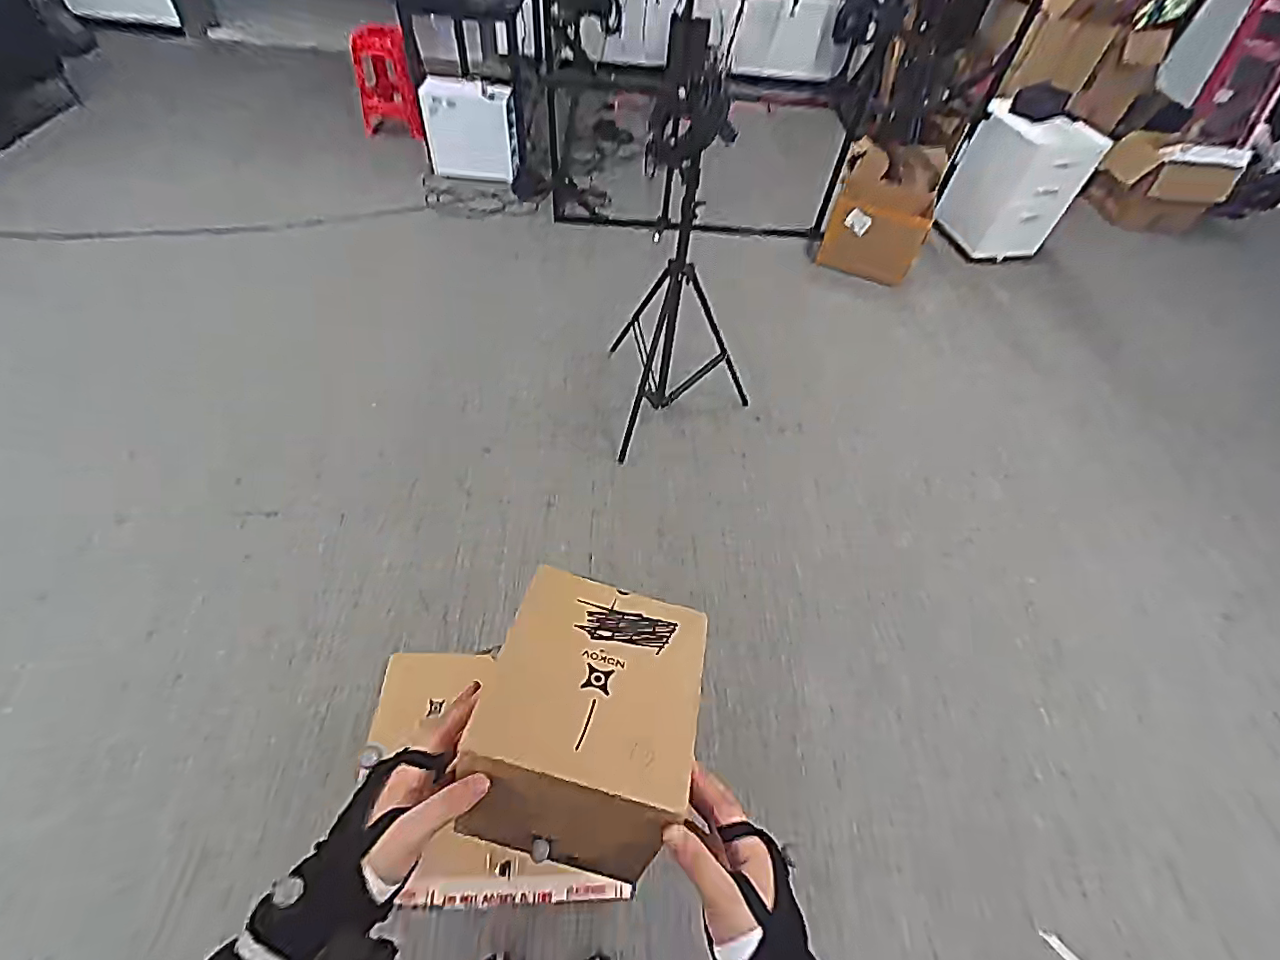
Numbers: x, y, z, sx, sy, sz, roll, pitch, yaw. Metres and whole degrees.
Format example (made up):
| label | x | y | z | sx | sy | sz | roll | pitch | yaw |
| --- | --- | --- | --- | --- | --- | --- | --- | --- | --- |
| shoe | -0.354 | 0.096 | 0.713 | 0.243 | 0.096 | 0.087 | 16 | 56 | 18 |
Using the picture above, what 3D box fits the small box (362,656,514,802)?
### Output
| label | x | y | z | sx | sy | sz | roll | pitch | yaw |
| --- | --- | --- | --- | --- | --- | --- | --- | --- | --- |
| small box | -0.294 | 0.387 | 0.834 | 0.168 | 0.176 | 0.179 | 1 | 54 | -3 |
